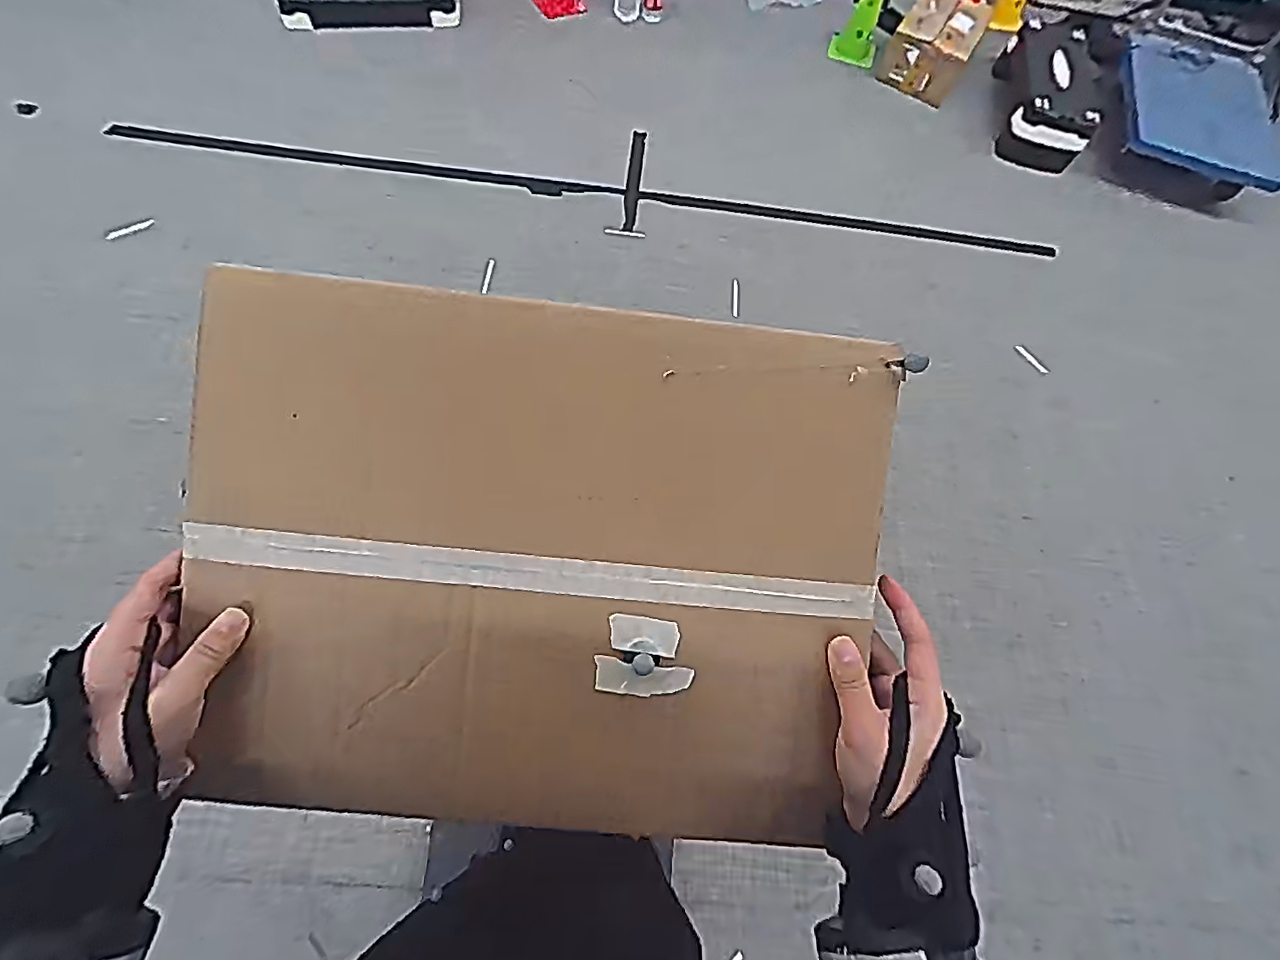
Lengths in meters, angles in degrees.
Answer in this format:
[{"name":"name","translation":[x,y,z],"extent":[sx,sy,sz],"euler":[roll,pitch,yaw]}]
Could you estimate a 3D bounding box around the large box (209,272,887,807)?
[{"name":"large box","translation":[-0.062,0.038,0.484],"extent":[0.408,0.320,0.320],"euler":[6,93,-3]}]
